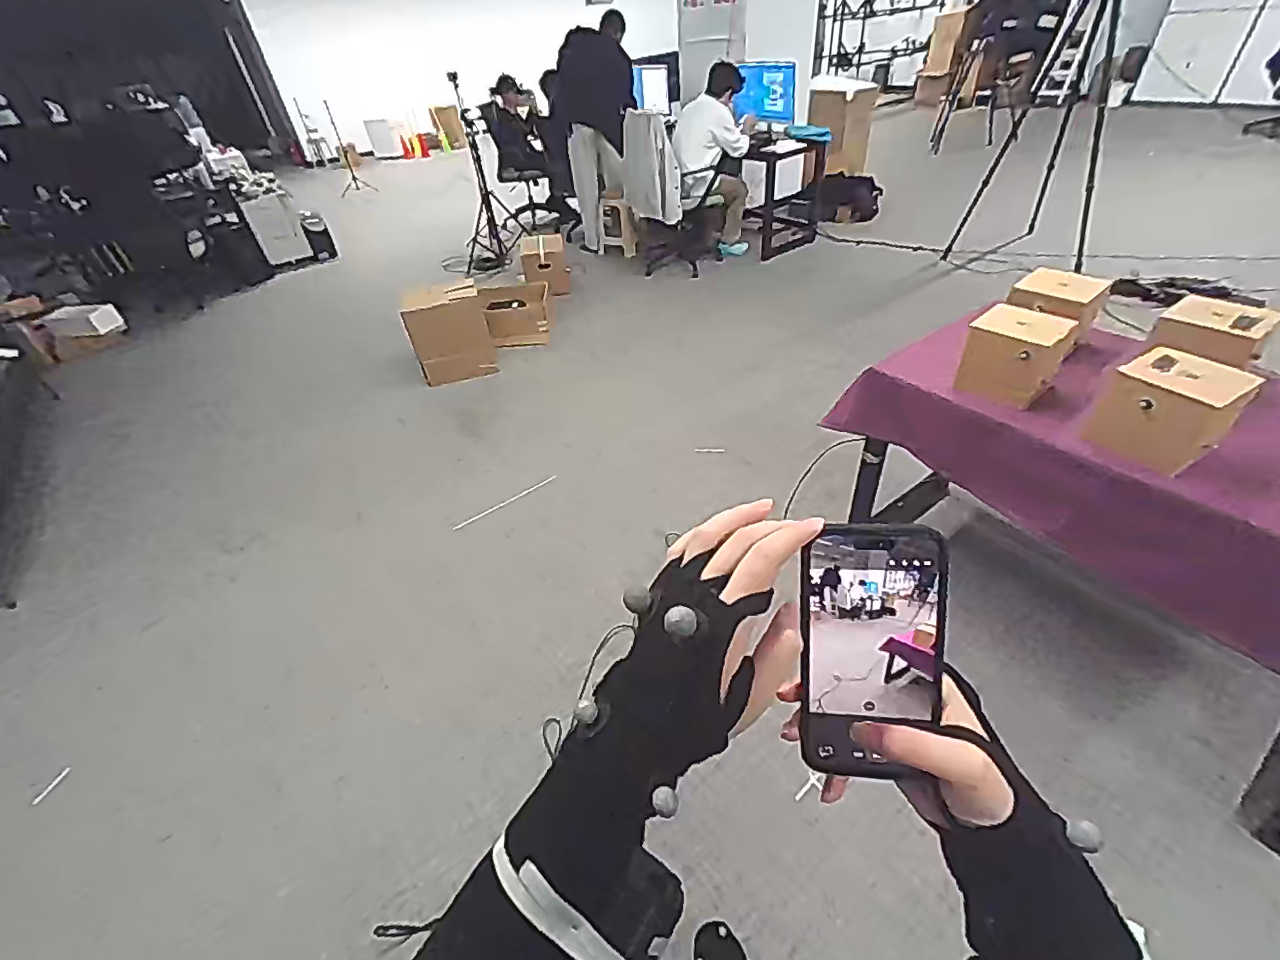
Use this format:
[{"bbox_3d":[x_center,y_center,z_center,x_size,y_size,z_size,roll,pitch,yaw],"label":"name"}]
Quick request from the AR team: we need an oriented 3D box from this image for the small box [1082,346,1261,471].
[{"bbox_3d":[1.062,-0.146,1.100,0.168,0.176,0.179,-23,44,-19],"label":"small box"}]

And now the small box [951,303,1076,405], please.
[{"bbox_3d":[0.894,-0.306,1.311,0.168,0.176,0.179,-32,48,-27],"label":"small box"}]
